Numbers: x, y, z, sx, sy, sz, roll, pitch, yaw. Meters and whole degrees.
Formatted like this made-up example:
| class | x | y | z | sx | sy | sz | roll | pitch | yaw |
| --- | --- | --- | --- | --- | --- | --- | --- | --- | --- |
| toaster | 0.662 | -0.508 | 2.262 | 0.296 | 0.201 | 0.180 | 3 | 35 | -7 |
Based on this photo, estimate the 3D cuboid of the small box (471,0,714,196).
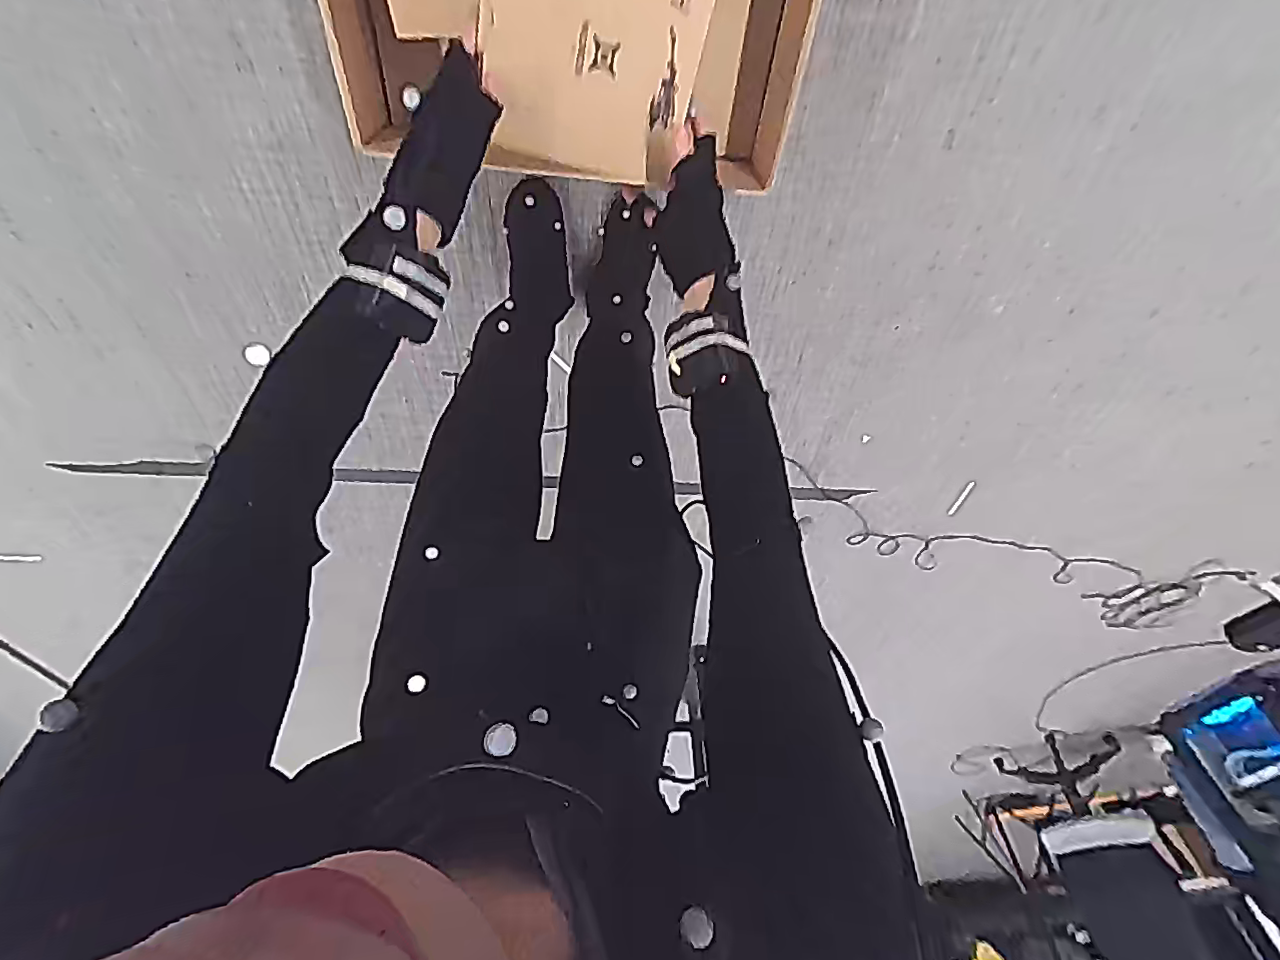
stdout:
| class | x | y | z | sx | sy | sz | roll | pitch | yaw |
| --- | --- | --- | --- | --- | --- | --- | --- | --- | --- |
| small box | -0.050 | -0.383 | 0.495 | 0.179 | 0.176 | 0.168 | 7 | 126 | -15 |
